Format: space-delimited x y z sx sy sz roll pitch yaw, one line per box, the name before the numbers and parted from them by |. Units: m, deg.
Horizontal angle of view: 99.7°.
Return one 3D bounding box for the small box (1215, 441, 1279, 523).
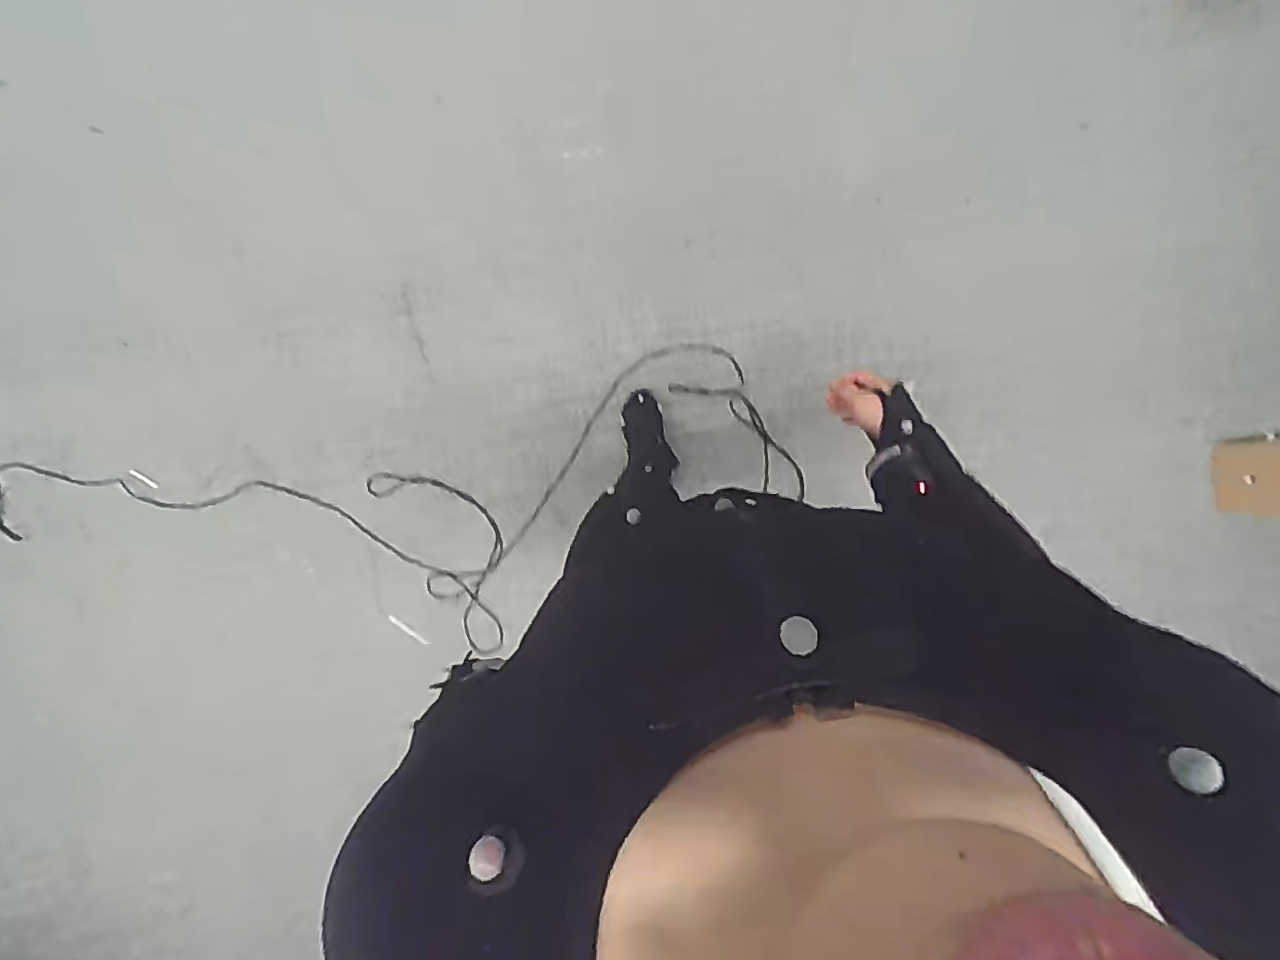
small box | 1.562 0.001 1.311 0.168 0.176 0.179 -7 93 4
